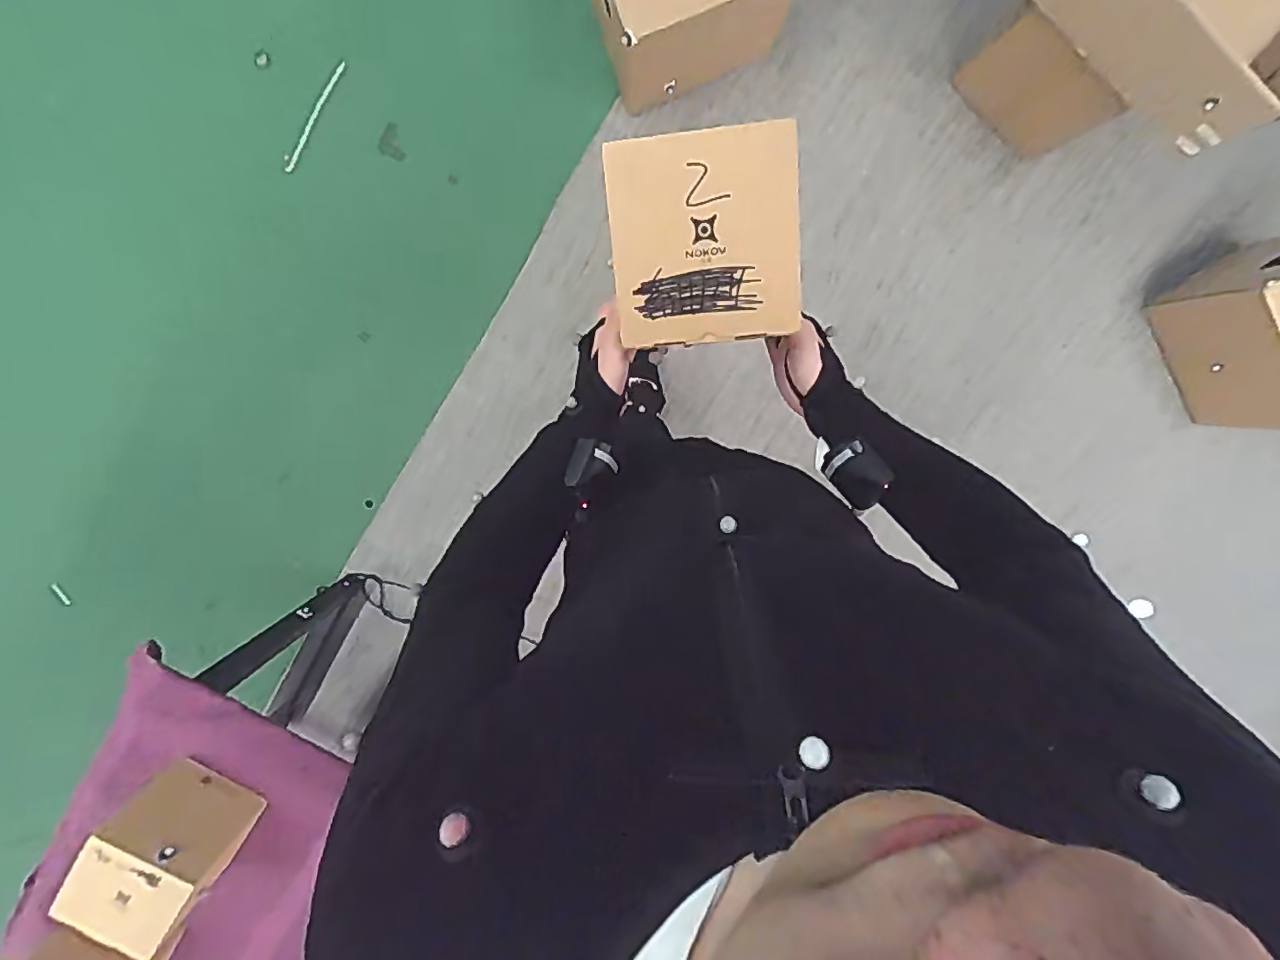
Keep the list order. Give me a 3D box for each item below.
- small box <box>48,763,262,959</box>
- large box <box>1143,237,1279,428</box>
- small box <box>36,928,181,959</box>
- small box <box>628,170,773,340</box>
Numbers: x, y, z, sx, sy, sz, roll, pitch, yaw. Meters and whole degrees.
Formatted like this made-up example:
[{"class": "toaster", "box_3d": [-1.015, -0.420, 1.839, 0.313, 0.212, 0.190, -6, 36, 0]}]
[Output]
[{"class": "small box", "box_3d": [-0.764, 0.609, 0.873, 0.168, 0.176, 0.179, 34, 100, -8]}, {"class": "large box", "box_3d": [1.662, -0.384, 1.406, 0.320, 0.320, 0.408, -33, 98, 4]}, {"class": "small box", "box_3d": [-0.942, 0.871, 0.916, 0.168, 0.176, 0.179, 31, 98, -9]}, {"class": "small box", "box_3d": [0.078, -0.278, 0.704, 0.168, 0.176, 0.179, -3, 103, 5]}]
